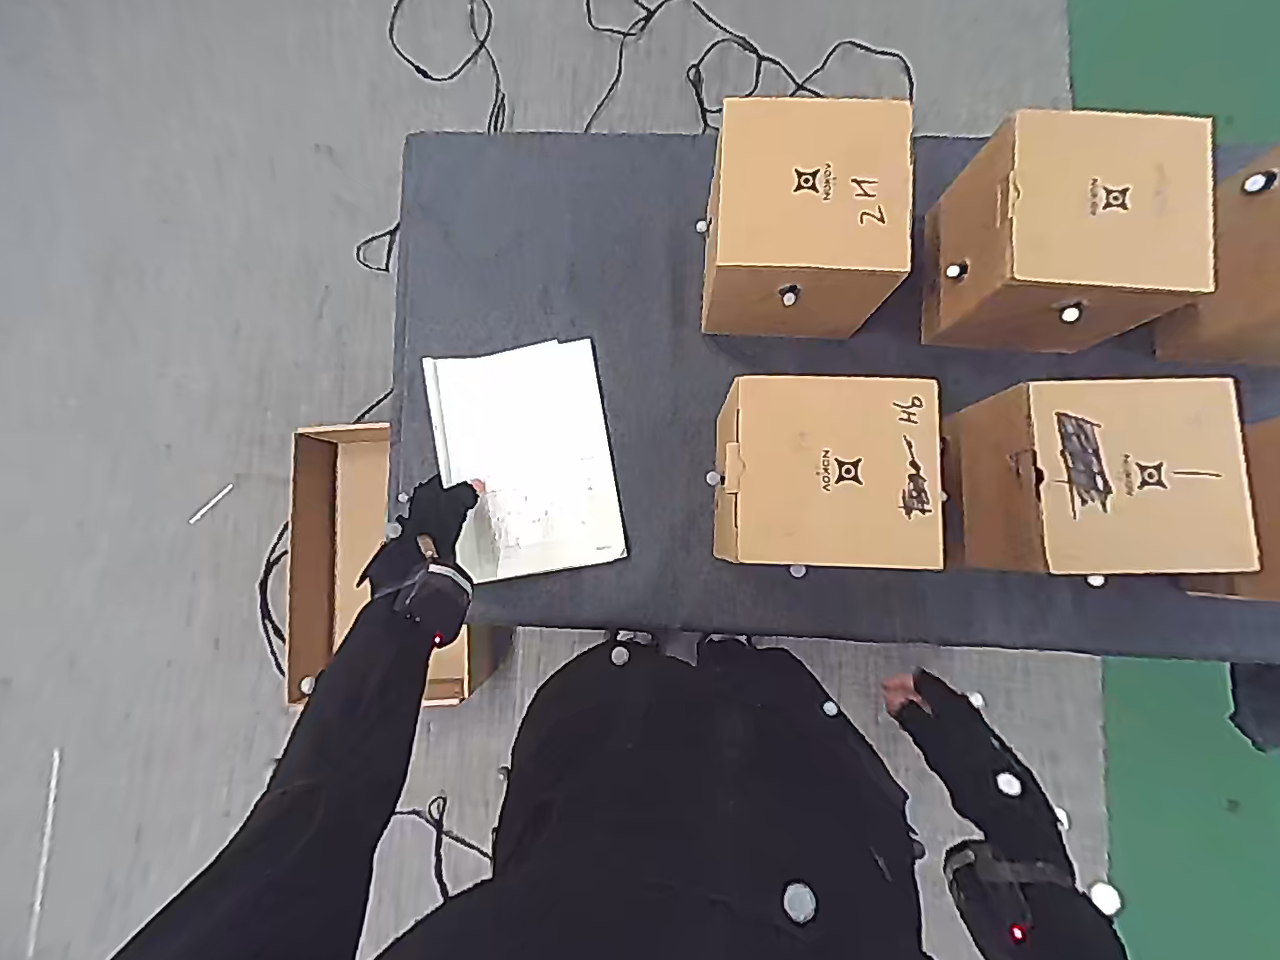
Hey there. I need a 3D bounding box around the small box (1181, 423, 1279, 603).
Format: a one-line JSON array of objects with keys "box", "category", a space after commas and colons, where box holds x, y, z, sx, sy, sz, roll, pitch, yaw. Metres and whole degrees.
[{"box": [0.679, 0.035, 0.523, 0.168, 0.176, 0.179, 5, 83, 3], "category": "small box"}]

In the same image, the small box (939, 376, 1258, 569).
[{"box": [0.419, 0.003, 0.532, 0.179, 0.176, 0.168, 0, 83, 1], "category": "small box"}]
